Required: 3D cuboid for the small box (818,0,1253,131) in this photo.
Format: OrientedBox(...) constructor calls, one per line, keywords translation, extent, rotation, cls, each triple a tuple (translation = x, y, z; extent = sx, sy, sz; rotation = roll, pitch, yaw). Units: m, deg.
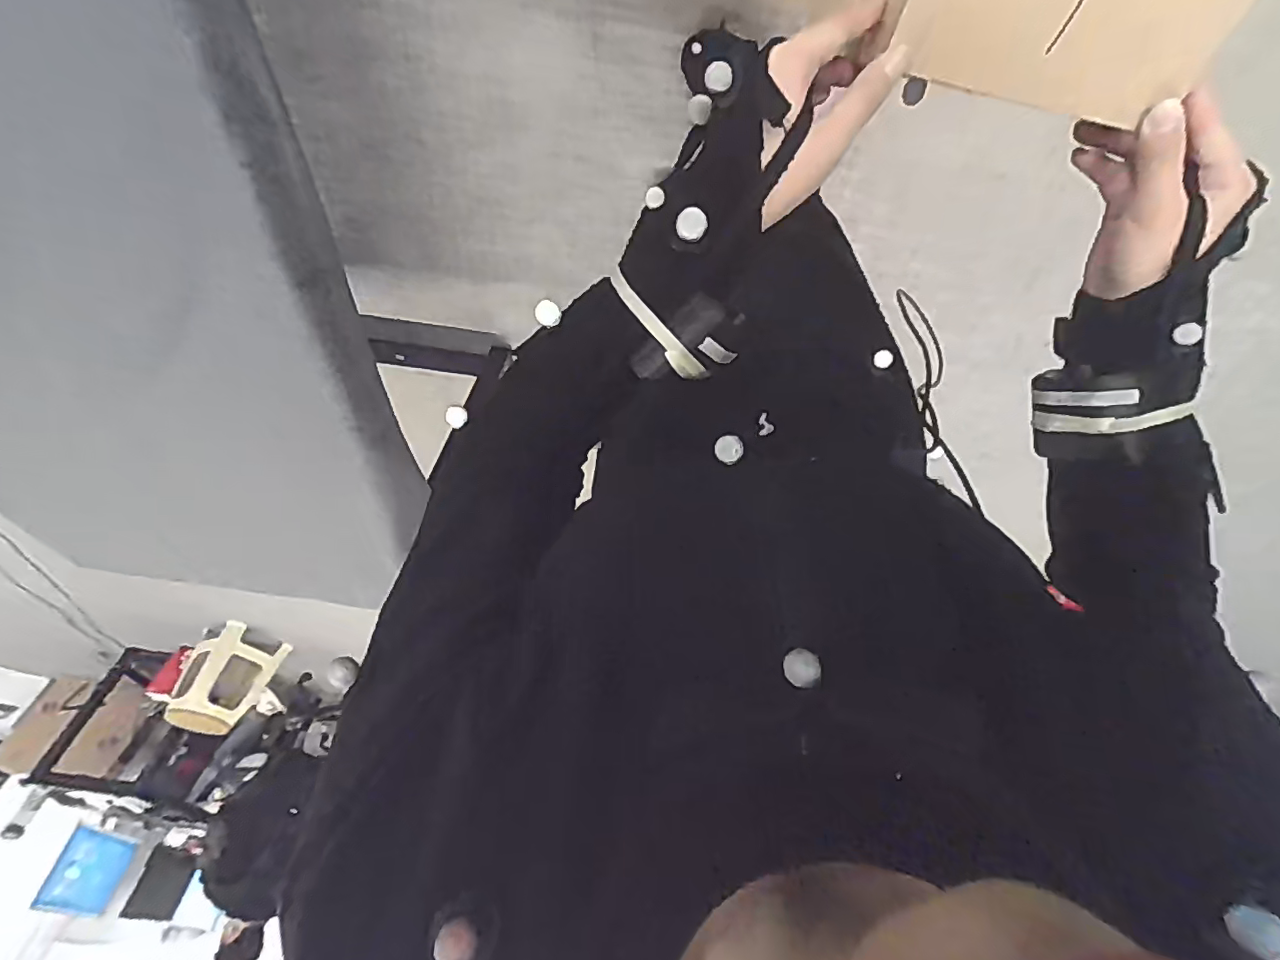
OrientedBox(translation=(0.216, -0.317, 0.286), extent=(0.168, 0.176, 0.179), rotation=(7, 132, -9), cls="small box")
